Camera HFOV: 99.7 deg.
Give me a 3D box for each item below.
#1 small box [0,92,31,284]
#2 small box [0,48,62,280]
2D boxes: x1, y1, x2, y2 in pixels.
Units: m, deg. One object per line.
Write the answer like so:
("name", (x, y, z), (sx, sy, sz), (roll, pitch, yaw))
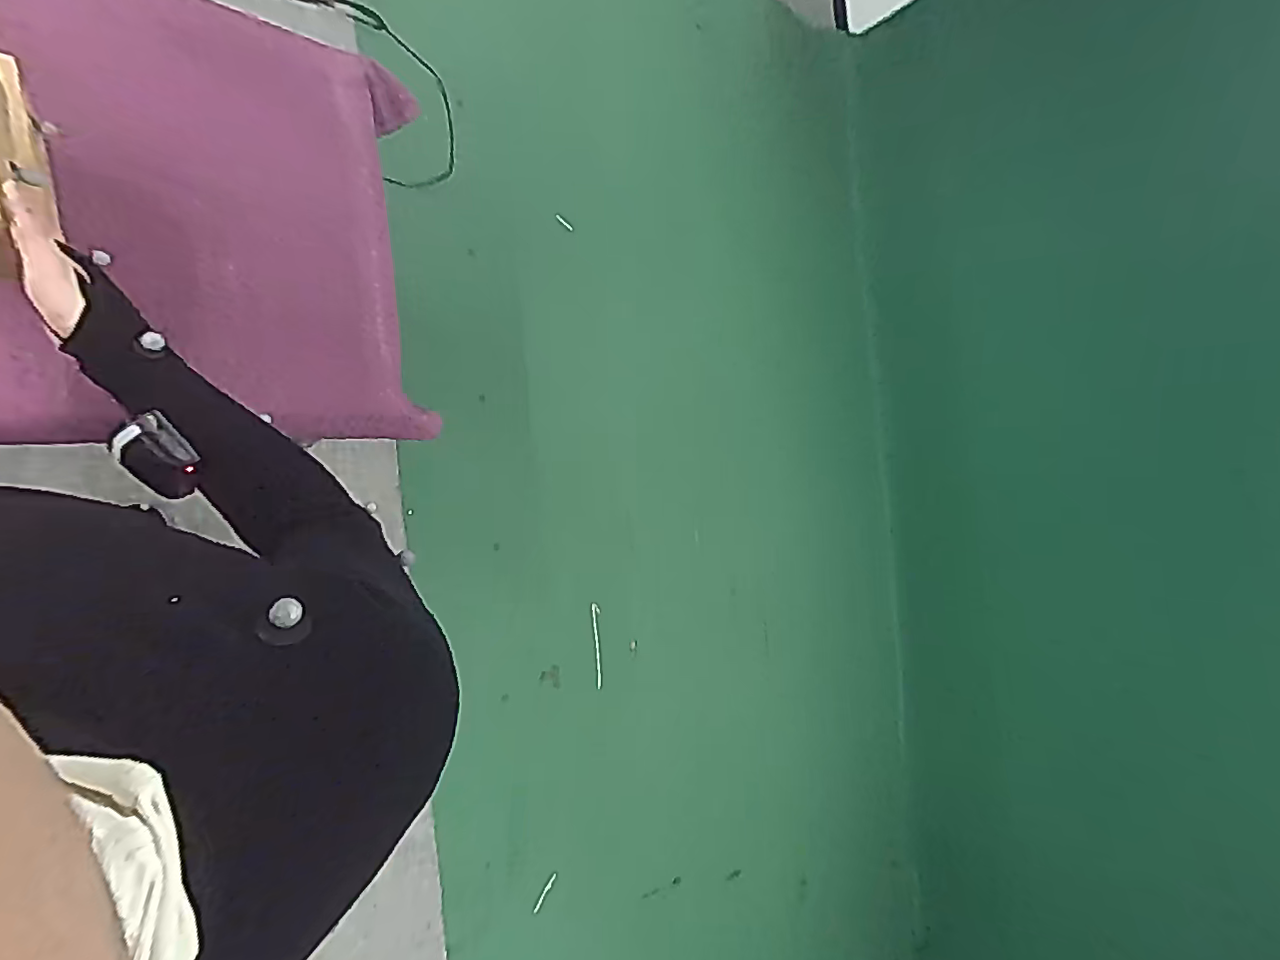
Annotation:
("small box", (-0.575, -0.260, 0.383), (0.168, 0.176, 0.179), (-9, 95, -42))
("small box", (-0.723, -0.323, 0.543), (0.168, 0.176, 0.179), (-12, 94, -41))
